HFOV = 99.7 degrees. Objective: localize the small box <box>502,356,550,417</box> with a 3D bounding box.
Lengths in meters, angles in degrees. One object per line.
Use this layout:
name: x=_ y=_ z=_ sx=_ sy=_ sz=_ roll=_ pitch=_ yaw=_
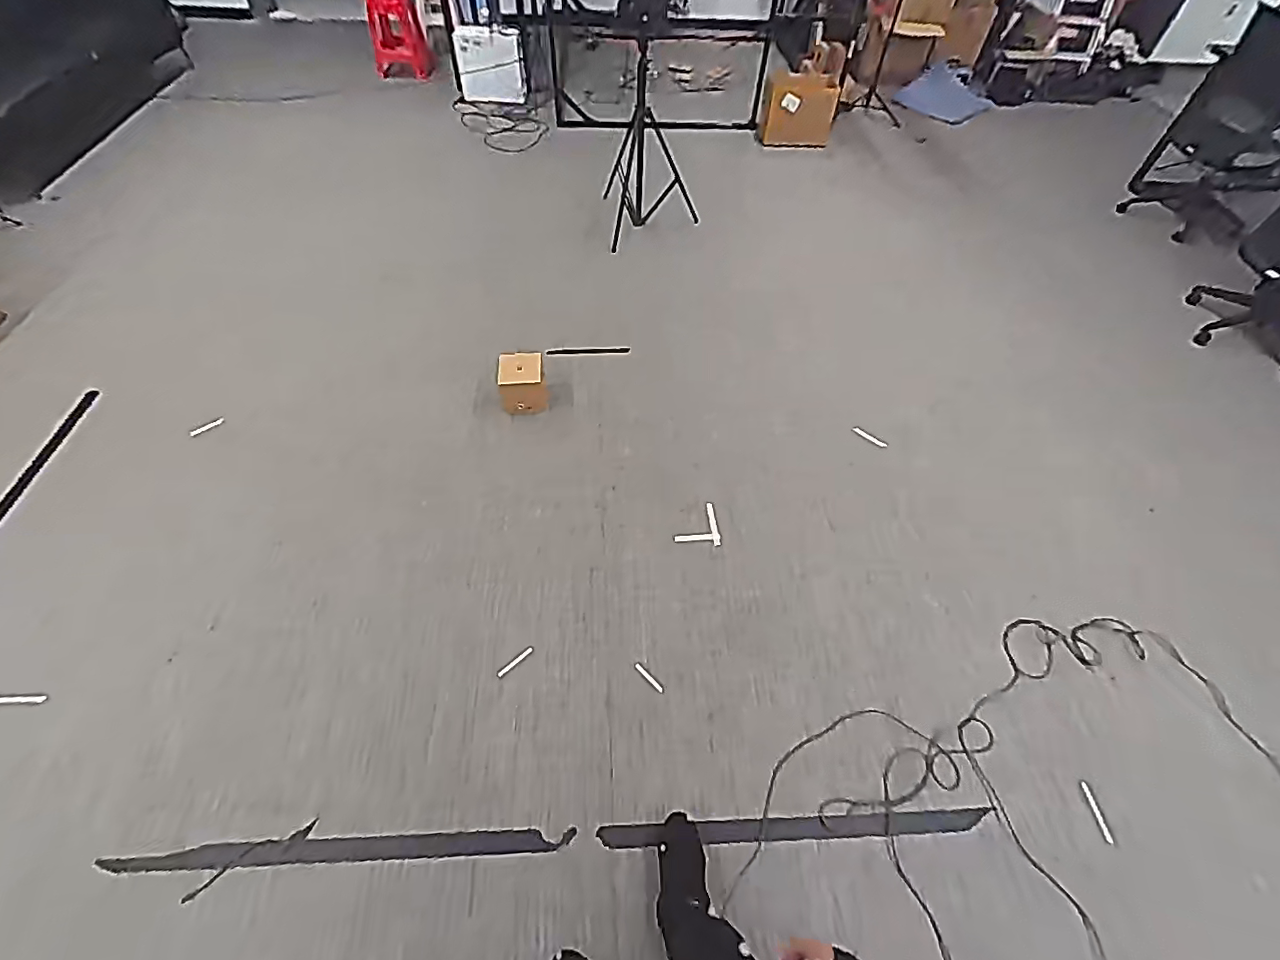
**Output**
small box: x=-0.458 y=-0.377 z=2.187 sx=0.168 sy=0.176 sz=0.179 roll=-4 pitch=54 yaw=-4
